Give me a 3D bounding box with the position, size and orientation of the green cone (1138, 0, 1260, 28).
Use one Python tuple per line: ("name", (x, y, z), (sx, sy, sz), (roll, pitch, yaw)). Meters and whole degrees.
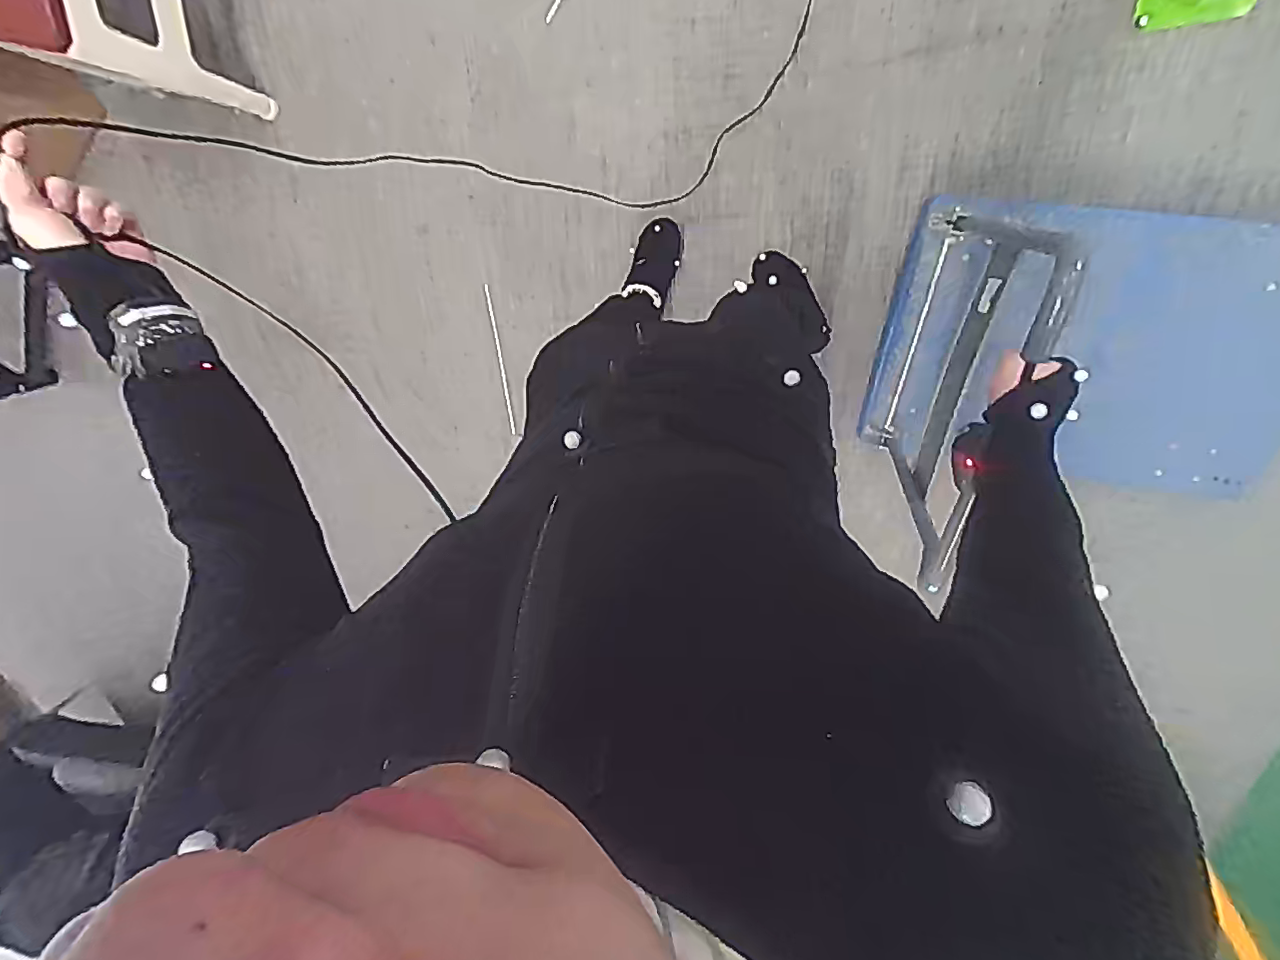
("green cone", (1.022, -0.895, 0.842), (0.200, 0.368, 0.202), (-1, 116, 12))
